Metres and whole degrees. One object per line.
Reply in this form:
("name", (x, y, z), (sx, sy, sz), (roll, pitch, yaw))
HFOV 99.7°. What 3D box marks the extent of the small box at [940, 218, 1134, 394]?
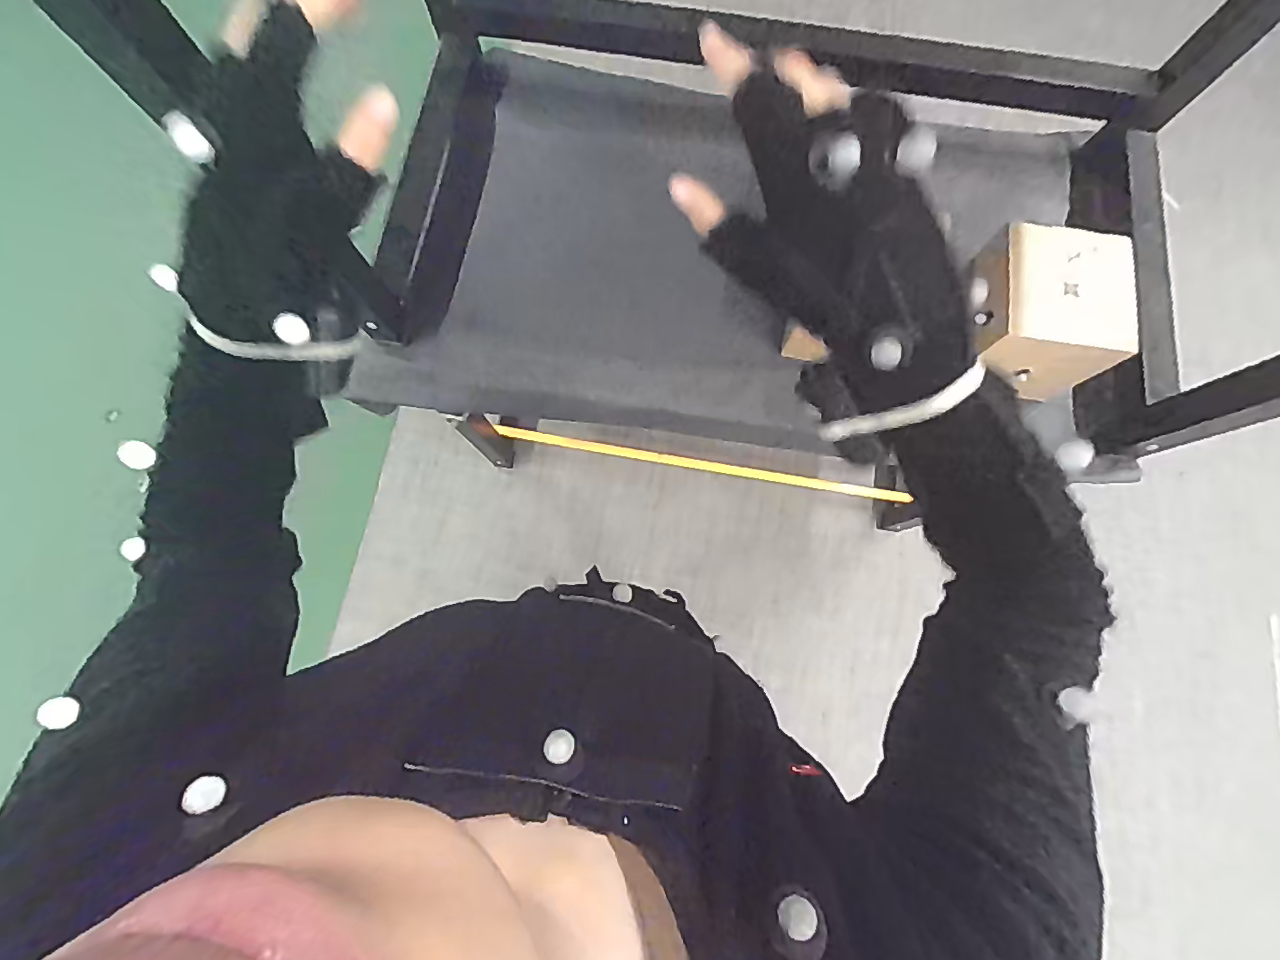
("small box", (0.564, -0.242, 0.789), (0.168, 0.176, 0.179), (9, 76, 2))
